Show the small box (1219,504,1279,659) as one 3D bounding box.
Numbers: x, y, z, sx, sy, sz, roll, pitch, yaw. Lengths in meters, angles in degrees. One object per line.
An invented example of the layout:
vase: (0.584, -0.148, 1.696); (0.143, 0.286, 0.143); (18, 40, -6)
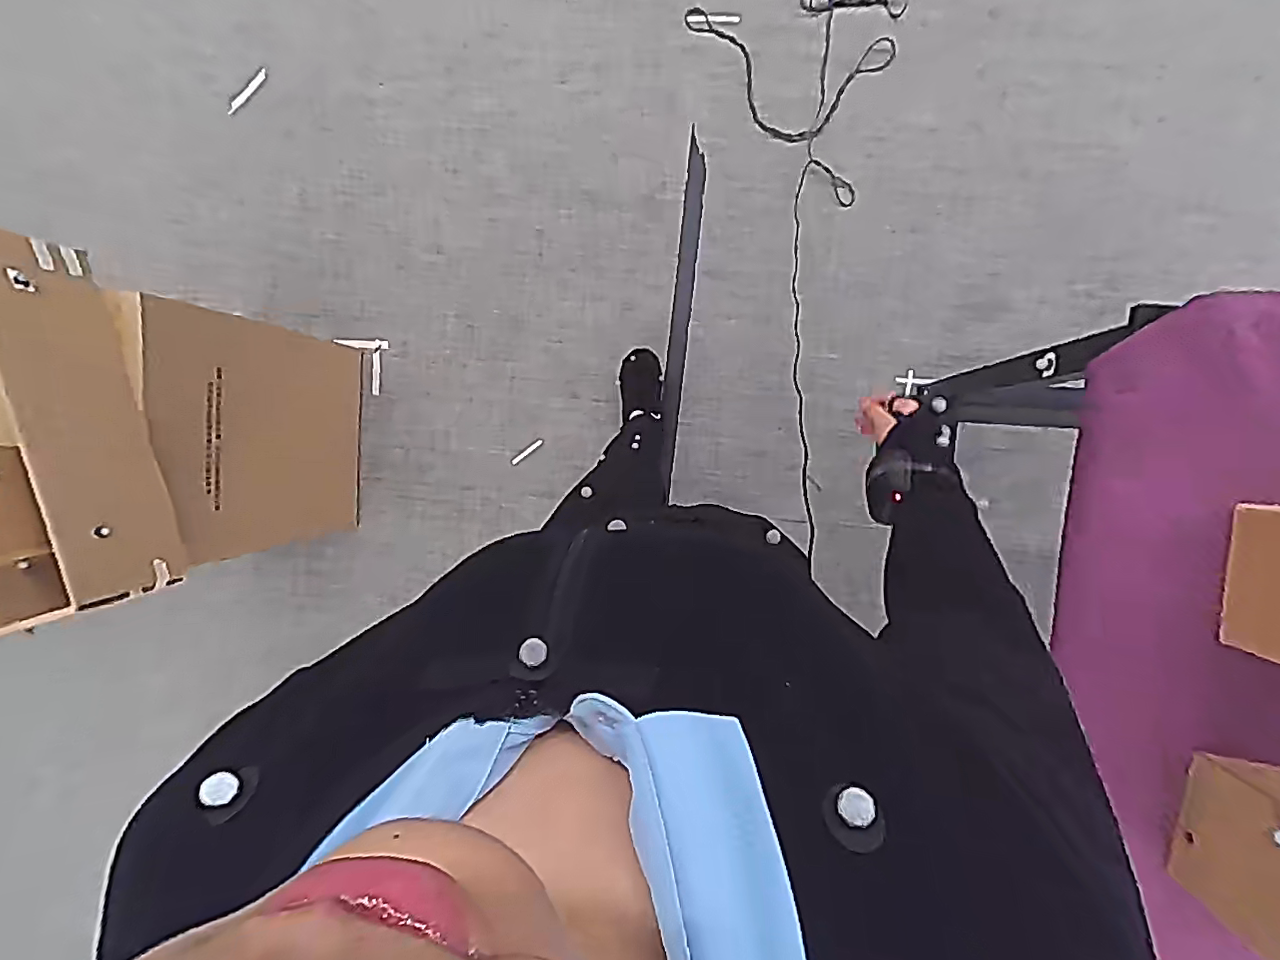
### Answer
small box: (0.793, 0.121, 0.581); (0.168, 0.176, 0.179); (2, 94, 7)

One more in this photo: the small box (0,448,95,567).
small box: (-1.042, 0.049, 0.861); (0.168, 0.176, 0.179); (-14, 91, 7)
